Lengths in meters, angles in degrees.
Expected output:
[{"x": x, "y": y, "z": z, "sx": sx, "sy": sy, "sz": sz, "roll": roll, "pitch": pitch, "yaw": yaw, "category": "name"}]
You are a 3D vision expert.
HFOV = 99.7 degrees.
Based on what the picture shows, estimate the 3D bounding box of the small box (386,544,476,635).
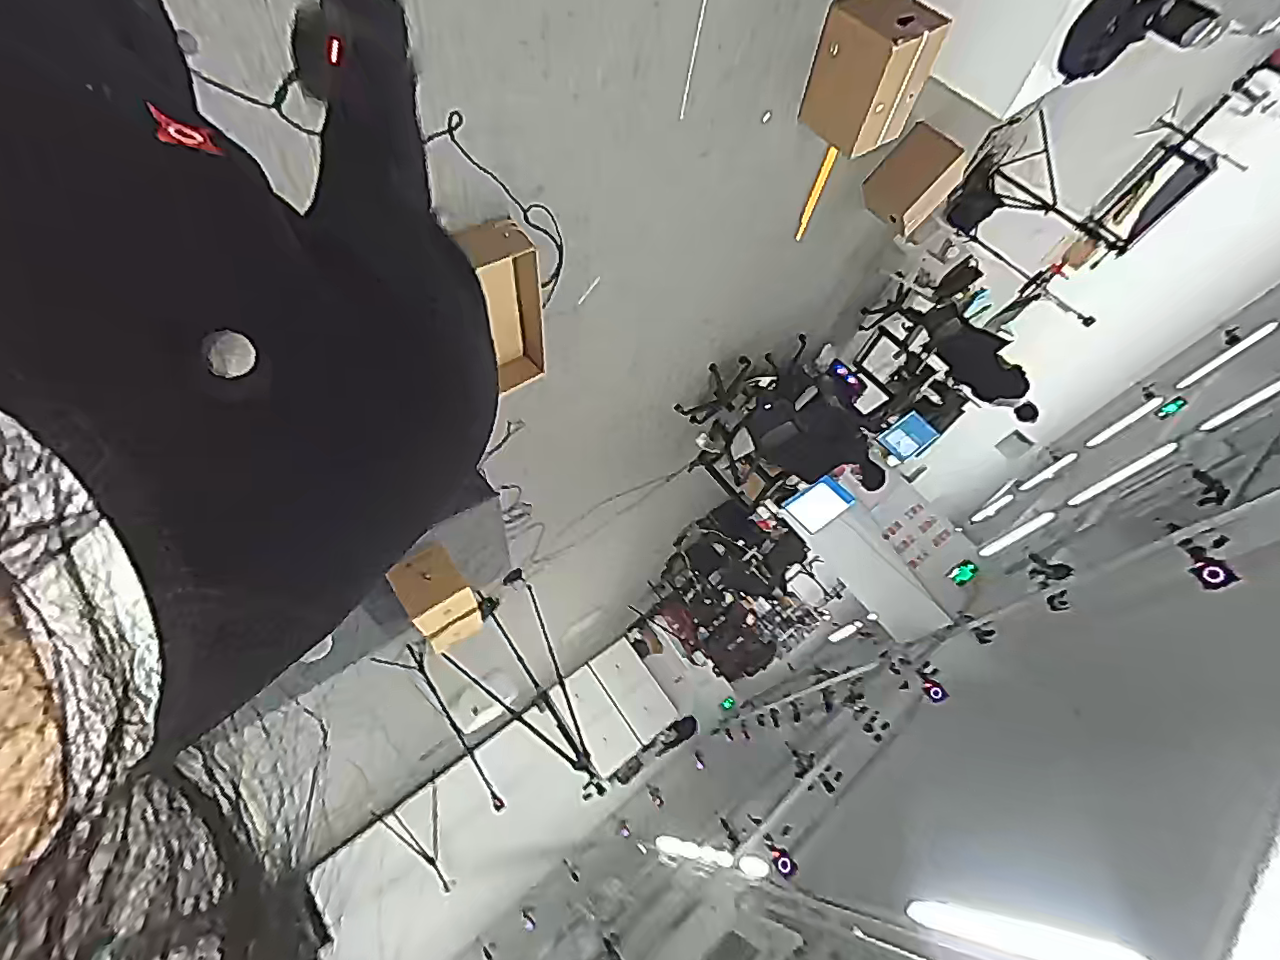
[{"x": -0.588, "y": 0.304, "z": 1.525, "sx": 0.168, "sy": 0.176, "sz": 0.179, "roll": -31, "pitch": 160, "yaw": -23, "category": "small box"}]

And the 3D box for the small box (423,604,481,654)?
[{"x": -0.625, "y": 0.417, "z": 1.720, "sx": 0.168, "sy": 0.176, "sz": 0.179, "roll": -29, "pitch": 157, "yaw": -27, "category": "small box"}]
